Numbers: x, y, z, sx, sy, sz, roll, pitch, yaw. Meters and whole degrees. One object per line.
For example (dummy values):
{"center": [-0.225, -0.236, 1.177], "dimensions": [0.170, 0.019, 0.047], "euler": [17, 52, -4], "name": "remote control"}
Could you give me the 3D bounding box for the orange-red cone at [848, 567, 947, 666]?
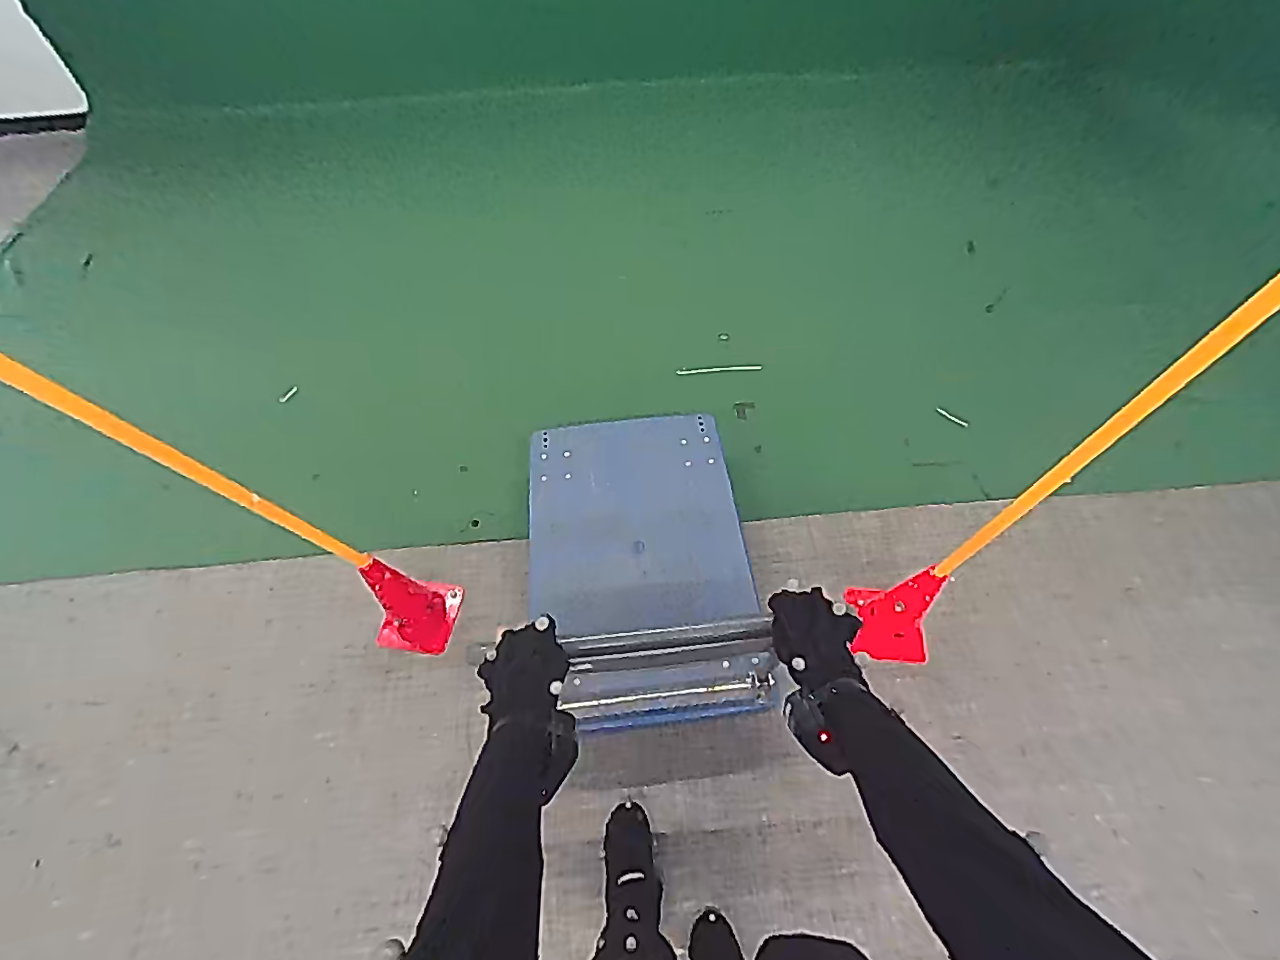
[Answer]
{"center": [0.664, 0.306, 1.329], "dimensions": [0.198, 0.360, 0.199], "euler": [4, 57, 6], "name": "orange-red cone"}
